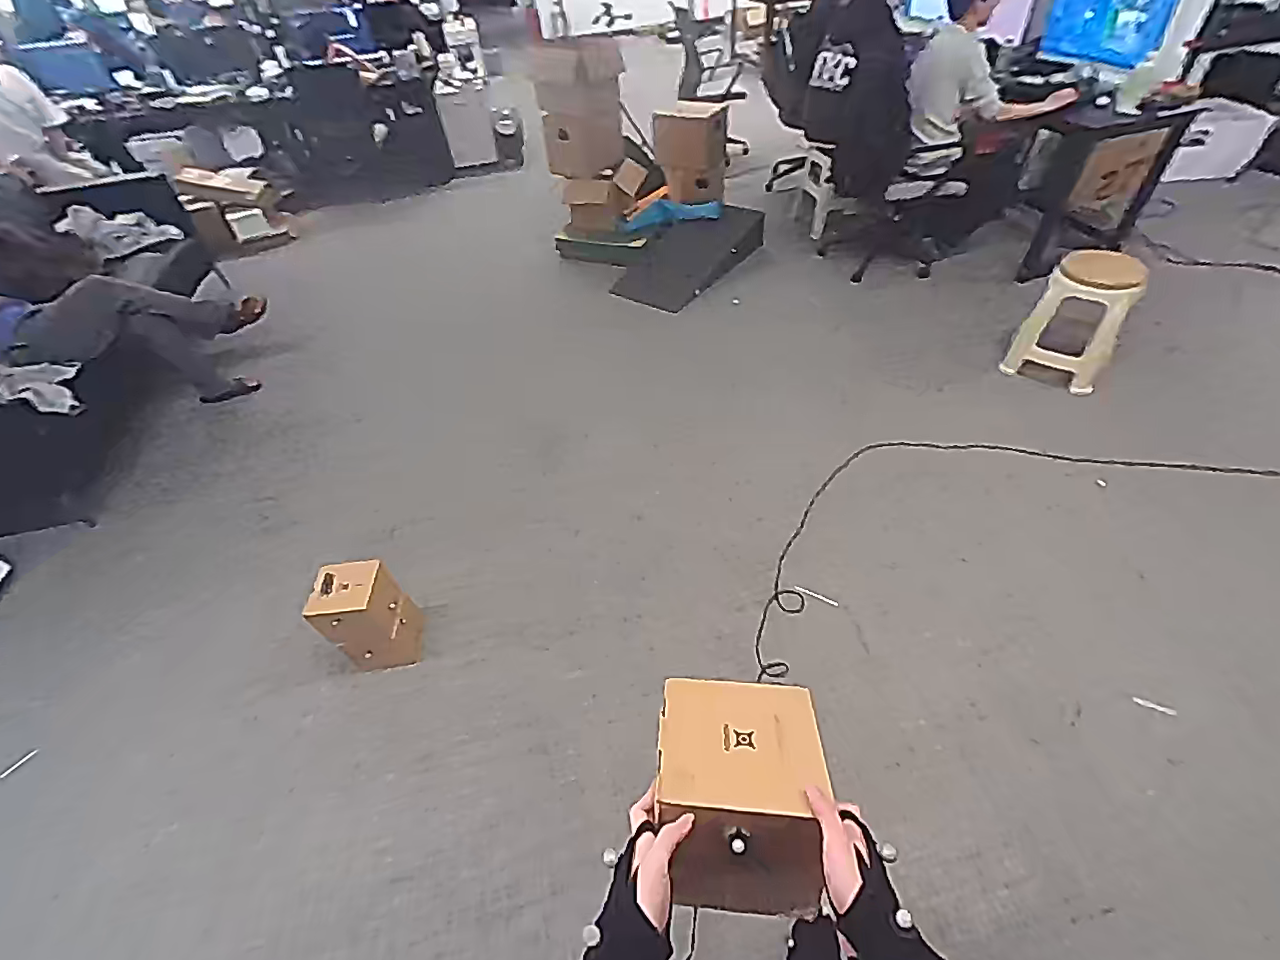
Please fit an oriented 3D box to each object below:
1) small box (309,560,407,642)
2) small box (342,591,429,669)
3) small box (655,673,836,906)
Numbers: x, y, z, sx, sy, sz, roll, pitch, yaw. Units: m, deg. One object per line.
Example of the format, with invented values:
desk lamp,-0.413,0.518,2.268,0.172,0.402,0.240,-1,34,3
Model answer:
small box,-0.810,0.357,1.573,0.179,0.176,0.168,-6,46,0
small box,-0.787,0.472,1.689,0.179,0.176,0.168,-8,45,0
small box,0.109,0.351,0.624,0.179,0.176,0.168,3,24,4
